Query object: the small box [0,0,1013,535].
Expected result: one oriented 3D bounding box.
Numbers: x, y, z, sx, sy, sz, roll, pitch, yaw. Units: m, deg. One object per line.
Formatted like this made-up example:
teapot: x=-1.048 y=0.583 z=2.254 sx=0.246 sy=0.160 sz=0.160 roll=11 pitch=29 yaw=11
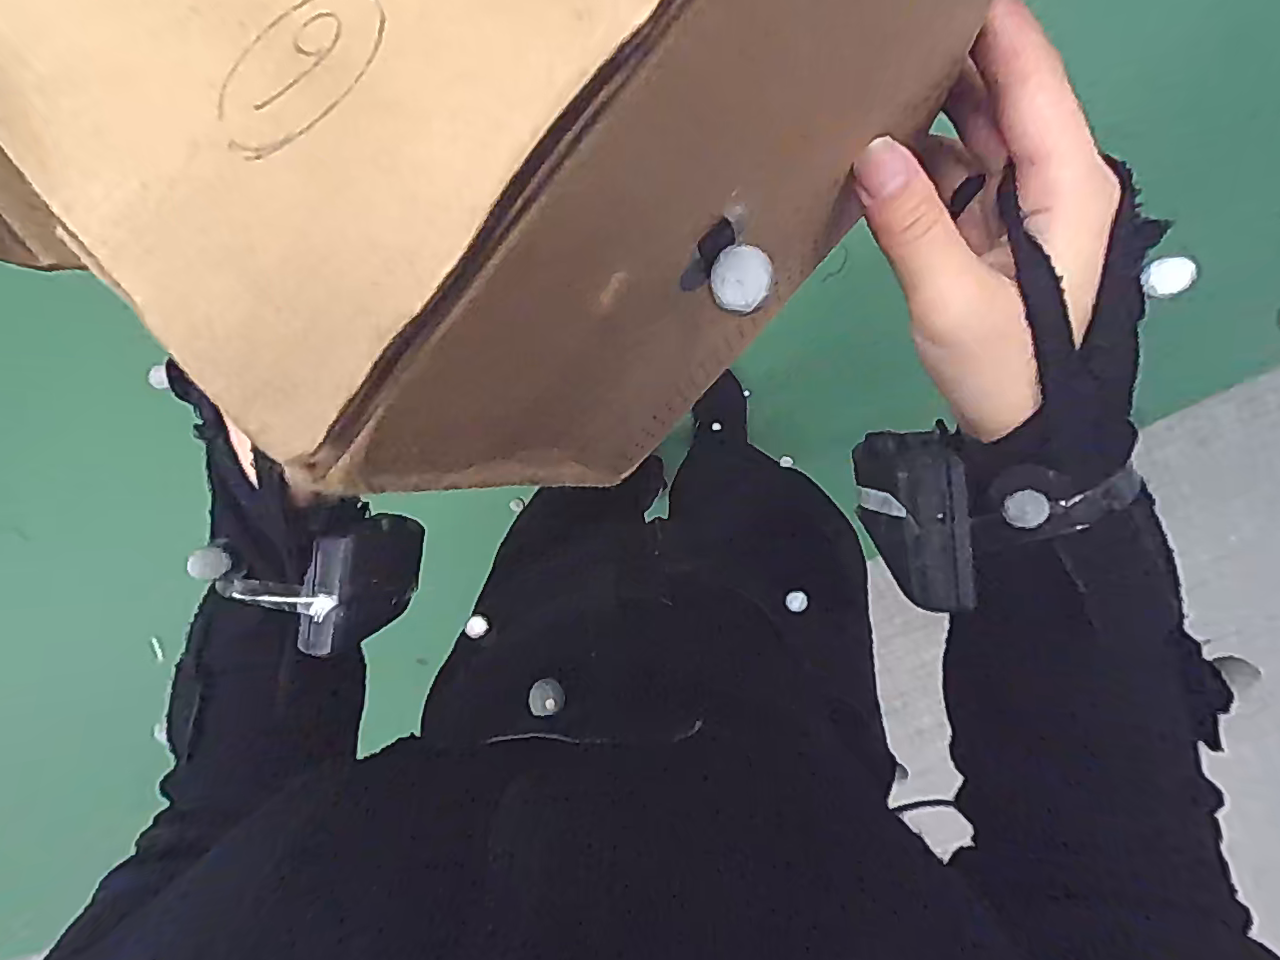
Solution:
small box: x=-0.018 y=-0.106 z=0.163 sx=0.168 sy=0.176 sz=0.179 roll=43 pitch=98 yaw=8
